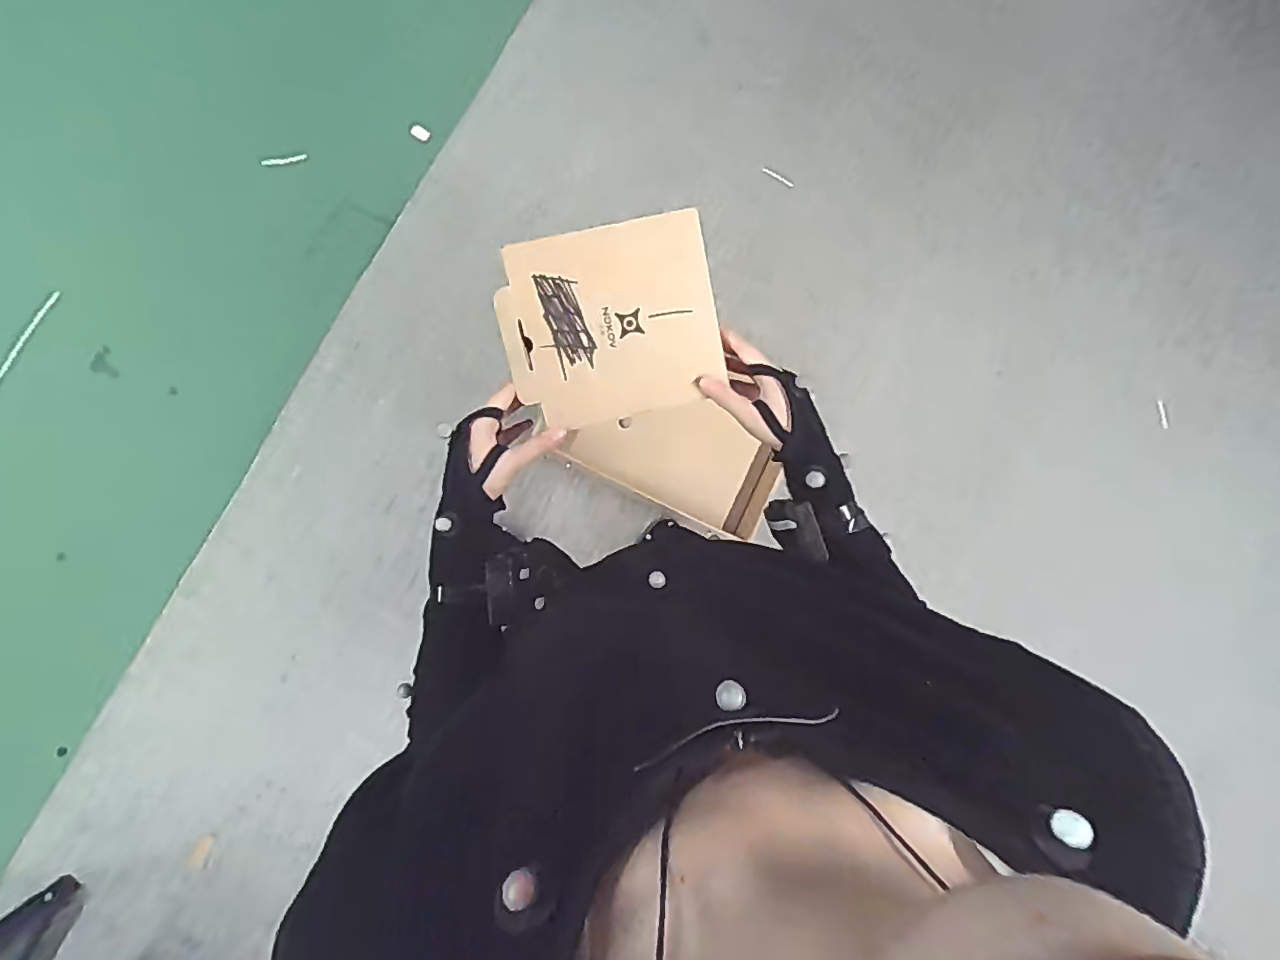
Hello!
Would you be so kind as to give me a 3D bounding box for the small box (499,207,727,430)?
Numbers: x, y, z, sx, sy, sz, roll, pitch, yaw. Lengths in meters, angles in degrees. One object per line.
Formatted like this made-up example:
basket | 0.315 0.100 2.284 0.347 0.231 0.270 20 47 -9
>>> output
small box | -0.026 -0.154 0.559 0.179 0.176 0.168 -14 102 -2
